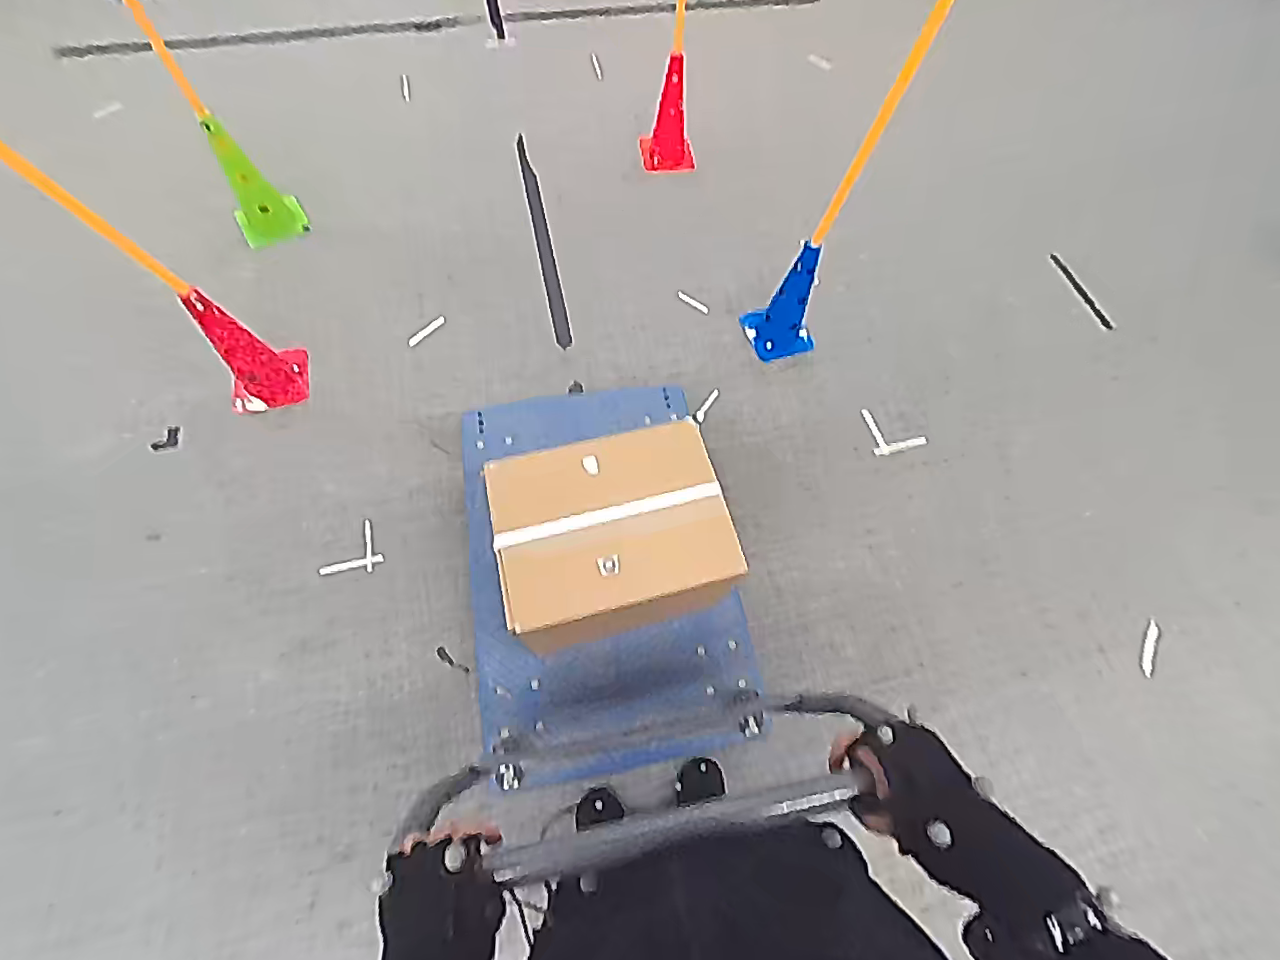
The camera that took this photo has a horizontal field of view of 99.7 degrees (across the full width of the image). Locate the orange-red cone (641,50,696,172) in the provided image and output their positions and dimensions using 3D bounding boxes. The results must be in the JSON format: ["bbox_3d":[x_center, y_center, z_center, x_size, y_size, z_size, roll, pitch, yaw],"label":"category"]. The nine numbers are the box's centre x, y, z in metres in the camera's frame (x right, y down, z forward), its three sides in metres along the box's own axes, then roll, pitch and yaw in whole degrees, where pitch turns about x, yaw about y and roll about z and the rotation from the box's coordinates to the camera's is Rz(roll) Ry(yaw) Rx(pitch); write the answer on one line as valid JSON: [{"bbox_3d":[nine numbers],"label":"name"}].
[{"bbox_3d":[0.121,-1.337,1.945,0.199,0.360,0.198,-5,66,-7],"label":"orange-red cone"}]

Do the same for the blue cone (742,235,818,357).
[{"bbox_3d":[0.455,-0.556,1.615,0.193,0.380,0.192,-15,65,-11],"label":"blue cone"}]
